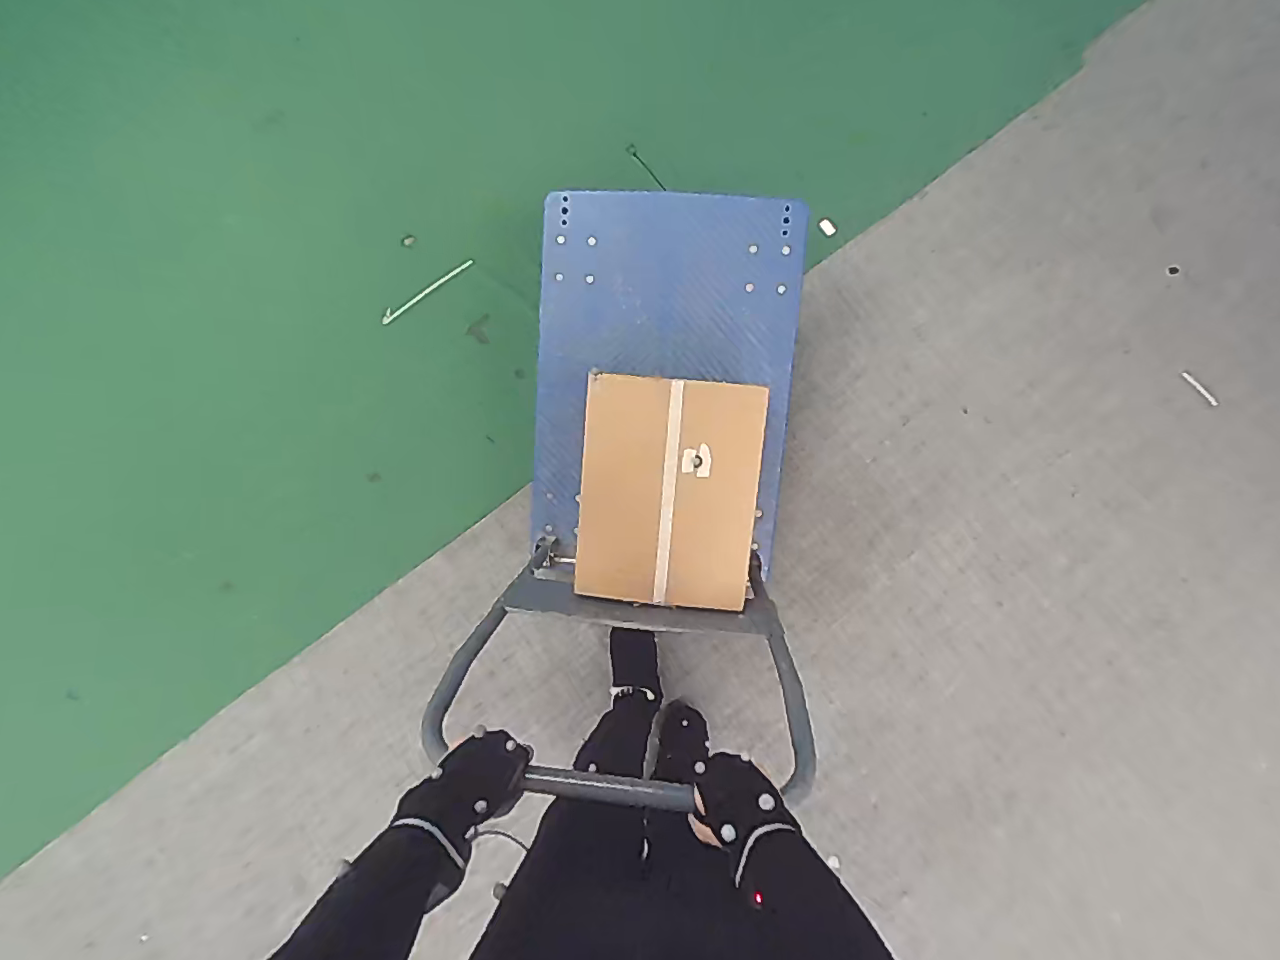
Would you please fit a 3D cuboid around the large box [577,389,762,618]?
[{"bbox_3d":[0.062,0.029,1.126,0.320,0.320,0.408,6,98,4],"label":"large box"}]
